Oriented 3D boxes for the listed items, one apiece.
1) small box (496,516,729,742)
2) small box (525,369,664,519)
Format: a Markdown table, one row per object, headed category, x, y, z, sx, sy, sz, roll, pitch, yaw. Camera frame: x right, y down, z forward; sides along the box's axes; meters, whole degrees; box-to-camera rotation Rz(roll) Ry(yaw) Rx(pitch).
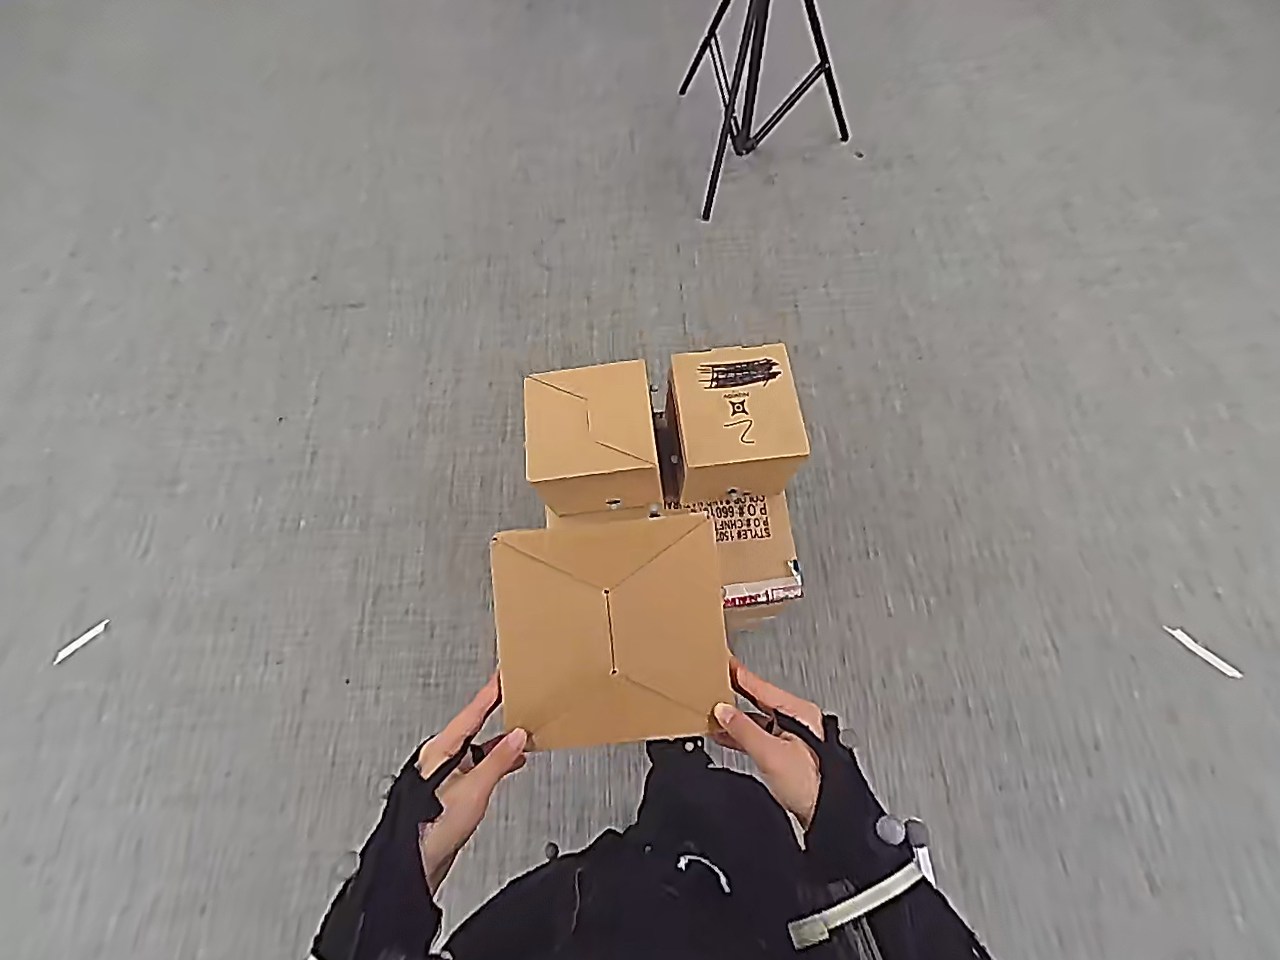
| category | x | y | z | sx | sy | sz | roll | pitch | yaw |
| --- | --- | --- | --- | --- | --- | --- | --- | --- | --- |
| small box | -0.025 | 0.123 | 0.499 | 0.179 | 0.176 | 0.168 | -6 | 86 | 0 |
| small box | -0.062 | -0.051 | 0.817 | 0.179 | 0.176 | 0.168 | -7 | 69 | 3 |
